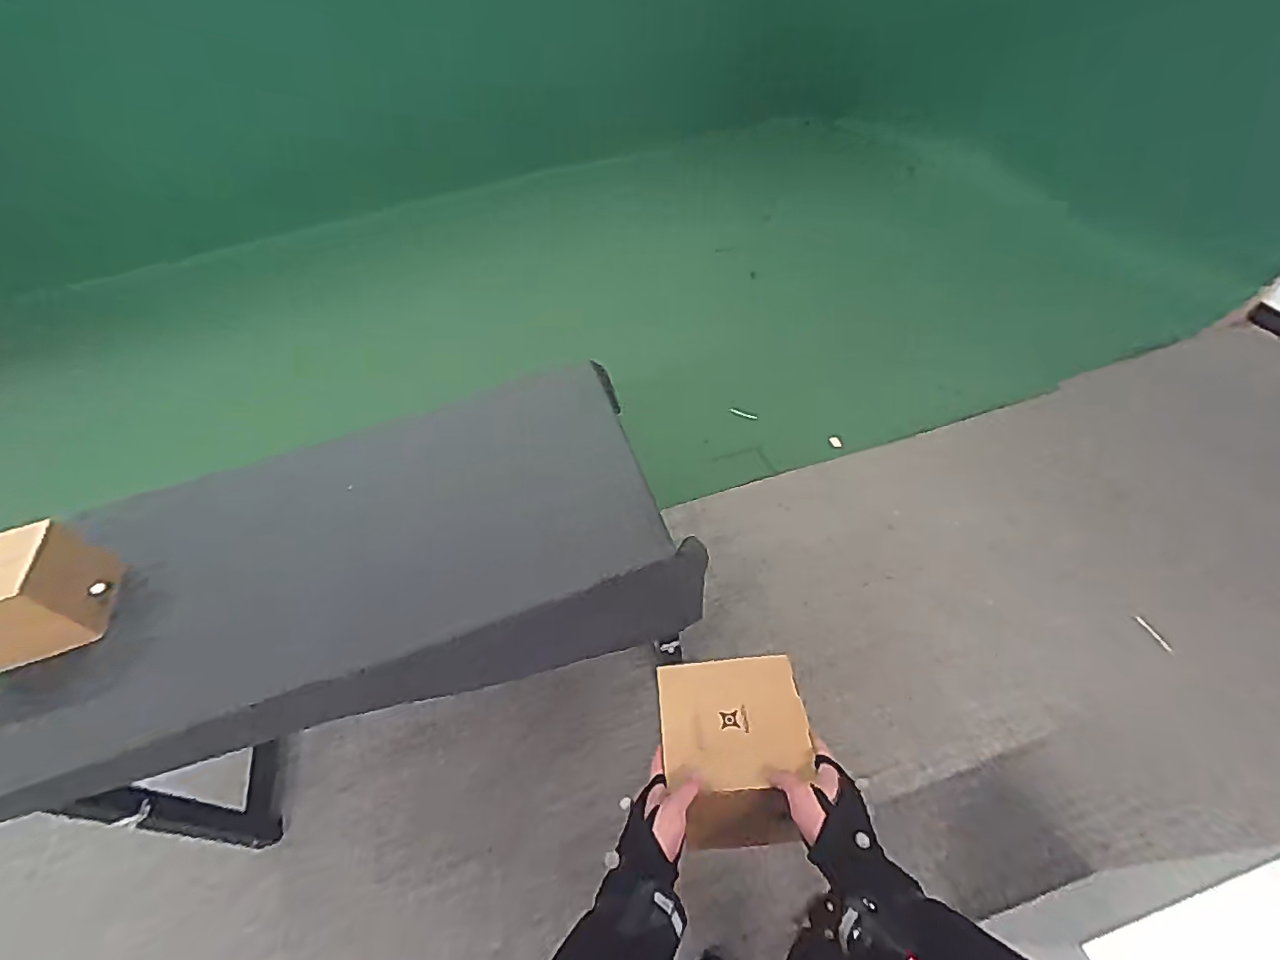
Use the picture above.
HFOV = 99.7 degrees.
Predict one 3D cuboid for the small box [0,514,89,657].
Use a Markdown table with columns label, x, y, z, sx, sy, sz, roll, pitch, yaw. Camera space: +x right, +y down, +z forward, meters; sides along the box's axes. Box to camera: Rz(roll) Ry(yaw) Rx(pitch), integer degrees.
| label | x | y | z | sx | sy | sz | roll | pitch | yaw |
| --- | --- | --- | --- | --- | --- | --- | --- | --- | --- |
| small box | -1.091 | 0.189 | 0.890 | 0.179 | 0.176 | 0.168 | -18 | 50 | -12 |

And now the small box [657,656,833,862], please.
| label | x | y | z | sx | sy | sz | roll | pitch | yaw |
| --- | --- | --- | --- | --- | --- | --- | --- | --- | --- |
| small box | 0.120 | 0.348 | 0.678 | 0.179 | 0.176 | 0.168 | -8 | 36 | 0 |
